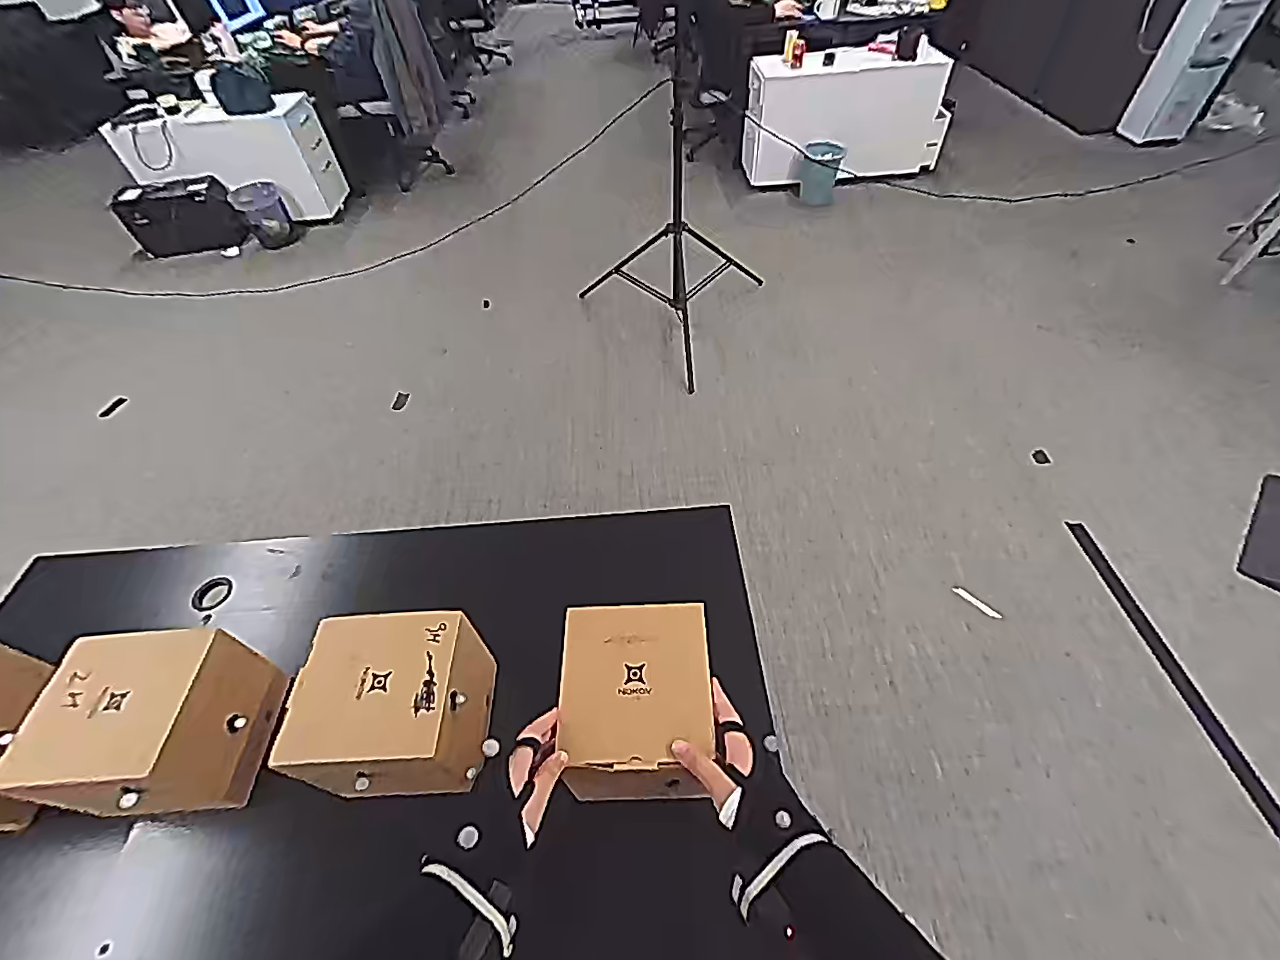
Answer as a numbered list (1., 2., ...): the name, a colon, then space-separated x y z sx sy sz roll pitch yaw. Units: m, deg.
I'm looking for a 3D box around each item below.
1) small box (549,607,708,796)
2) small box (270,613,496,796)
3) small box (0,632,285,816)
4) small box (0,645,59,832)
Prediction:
1. small box: -0.006 0.273 0.656 0.168 0.176 0.179 -3 49 2
2. small box: -0.295 0.281 0.670 0.179 0.176 0.168 -4 50 2
3. small box: -0.588 0.304 0.669 0.179 0.176 0.168 -5 49 0
4. small box: -0.854 0.326 0.669 0.168 0.176 0.179 -6 51 -1
